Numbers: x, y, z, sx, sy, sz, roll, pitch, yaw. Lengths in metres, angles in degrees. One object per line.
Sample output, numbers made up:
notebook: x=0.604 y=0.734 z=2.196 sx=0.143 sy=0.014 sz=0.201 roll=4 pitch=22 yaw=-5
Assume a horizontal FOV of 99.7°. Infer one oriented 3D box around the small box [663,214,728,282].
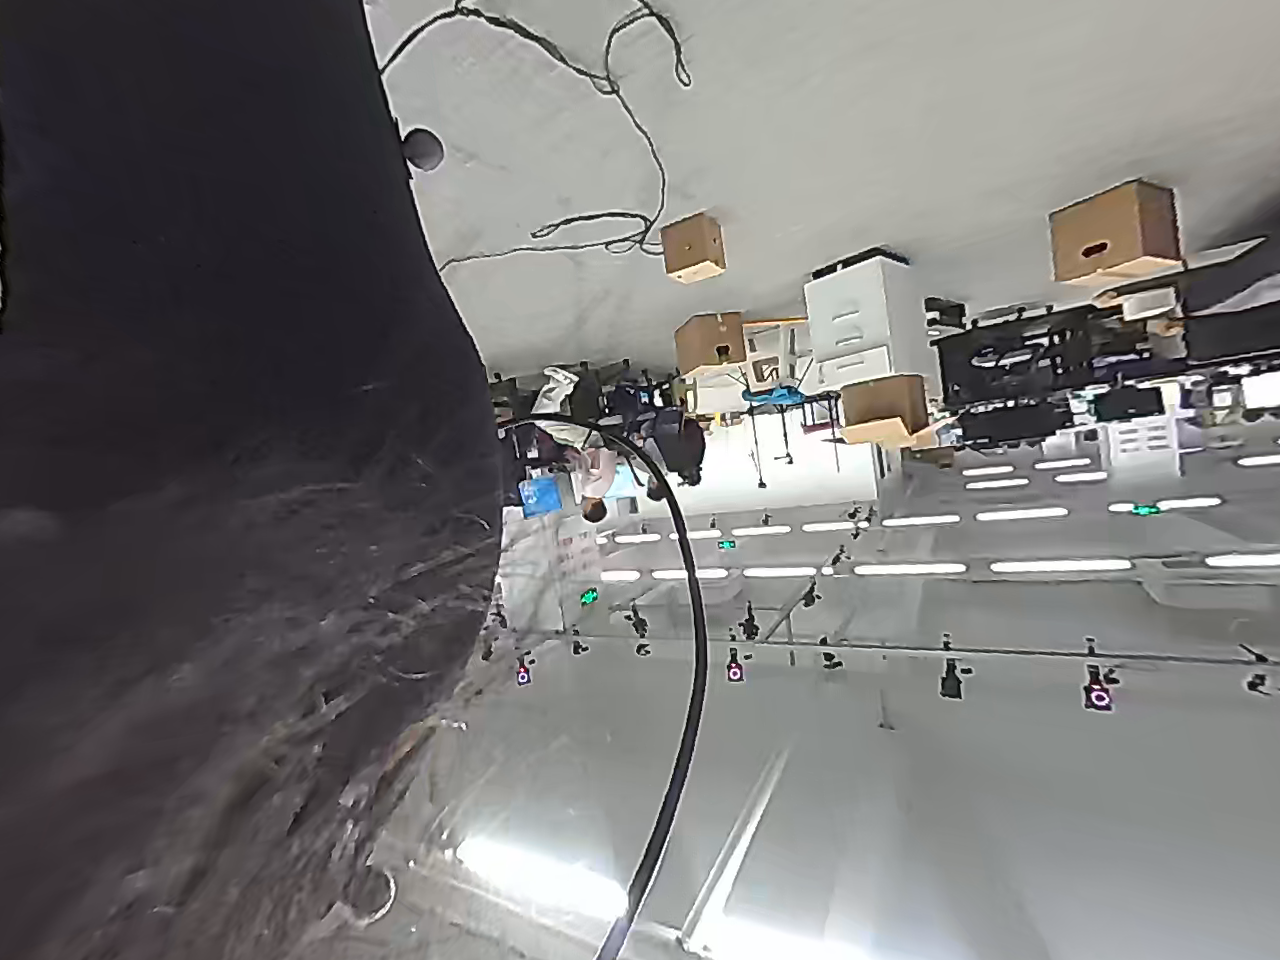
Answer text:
small box: x=0.205 y=-0.856 z=2.000 sx=0.179 sy=0.176 sz=0.168 roll=-9 pitch=-179 yaw=32
